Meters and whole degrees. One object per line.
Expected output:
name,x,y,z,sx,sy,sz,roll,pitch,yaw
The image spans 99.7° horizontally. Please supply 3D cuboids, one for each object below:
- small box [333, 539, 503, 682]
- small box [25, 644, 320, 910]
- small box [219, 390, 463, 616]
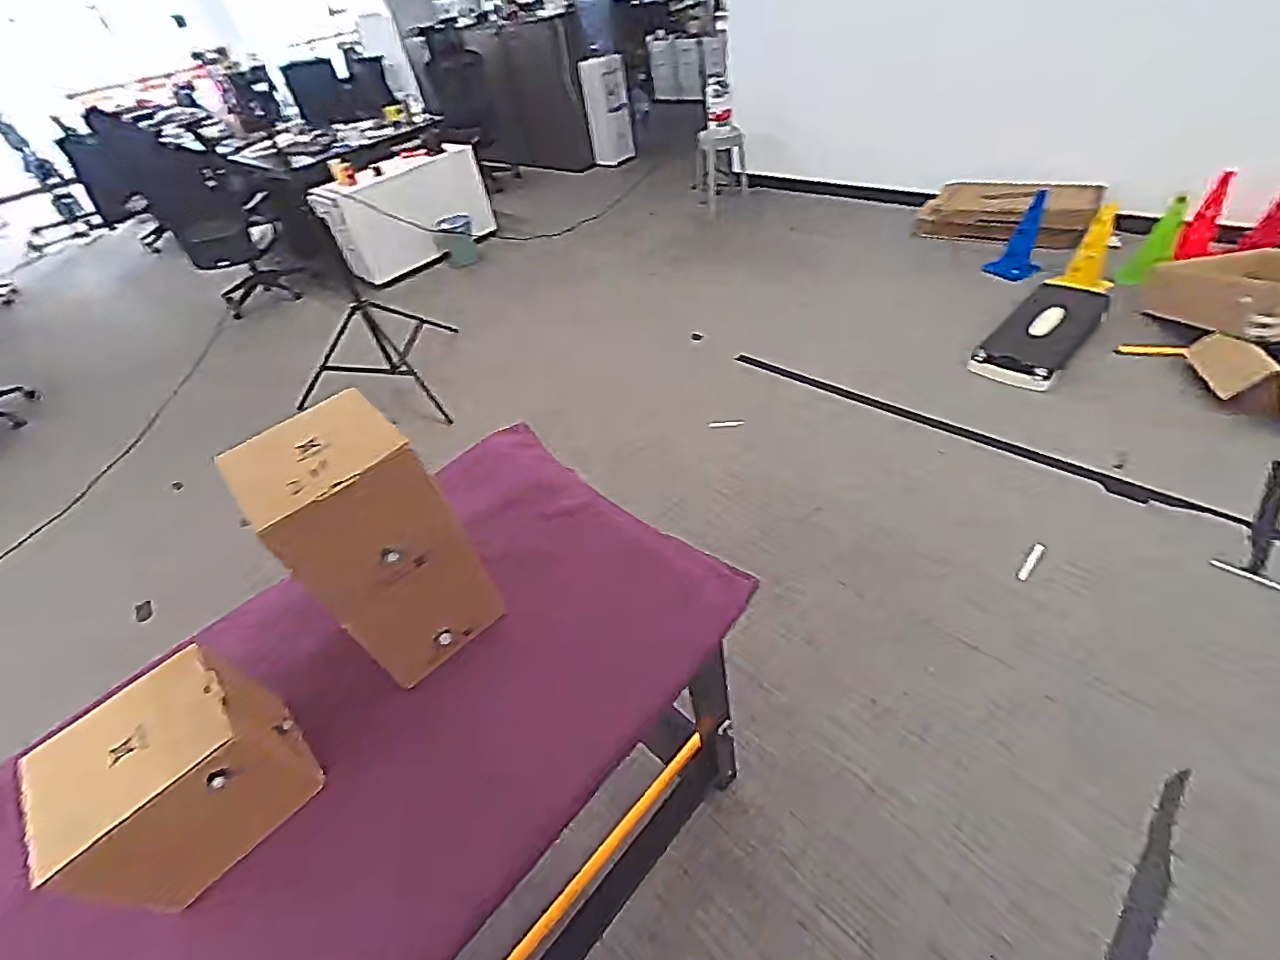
small box,-0.323,0.144,0.755,0.168,0.176,0.179,-37,50,-24
small box,-0.509,0.330,0.606,0.168,0.176,0.179,29,56,35
small box,-0.344,0.026,0.642,0.168,0.176,0.179,-38,50,-24
